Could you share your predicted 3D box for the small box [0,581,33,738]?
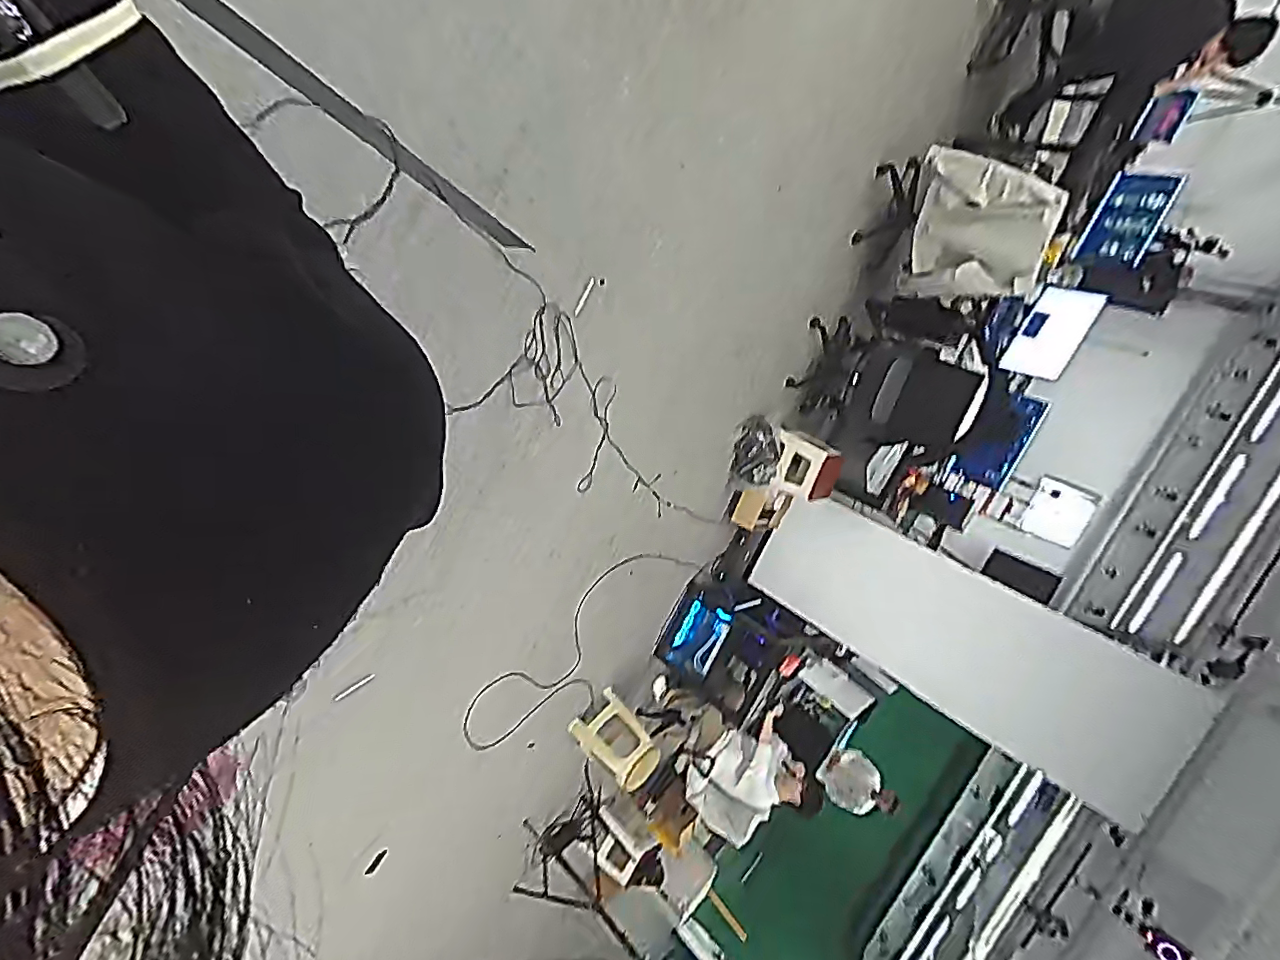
[{"bbox_3d":[-0.696,0.193,0.473,0.179,0.176,0.168,25,95,-56],"label":"small box"}]
